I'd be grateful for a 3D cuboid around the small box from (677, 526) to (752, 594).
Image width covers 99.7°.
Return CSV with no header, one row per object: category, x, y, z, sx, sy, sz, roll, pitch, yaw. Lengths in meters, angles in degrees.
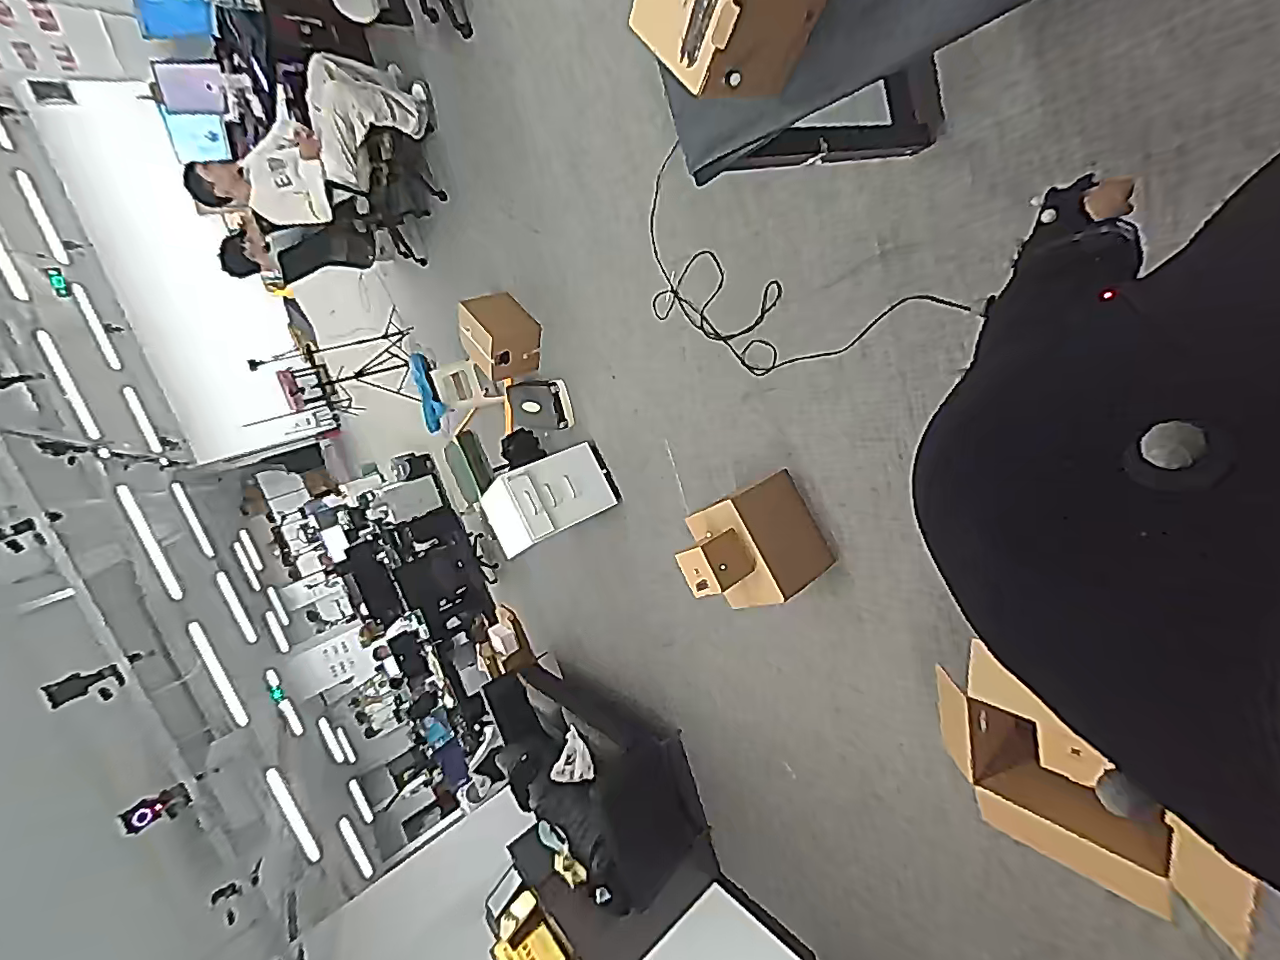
small box,0.270,0.286,1.934,0.168,0.176,0.179,-31,84,56
